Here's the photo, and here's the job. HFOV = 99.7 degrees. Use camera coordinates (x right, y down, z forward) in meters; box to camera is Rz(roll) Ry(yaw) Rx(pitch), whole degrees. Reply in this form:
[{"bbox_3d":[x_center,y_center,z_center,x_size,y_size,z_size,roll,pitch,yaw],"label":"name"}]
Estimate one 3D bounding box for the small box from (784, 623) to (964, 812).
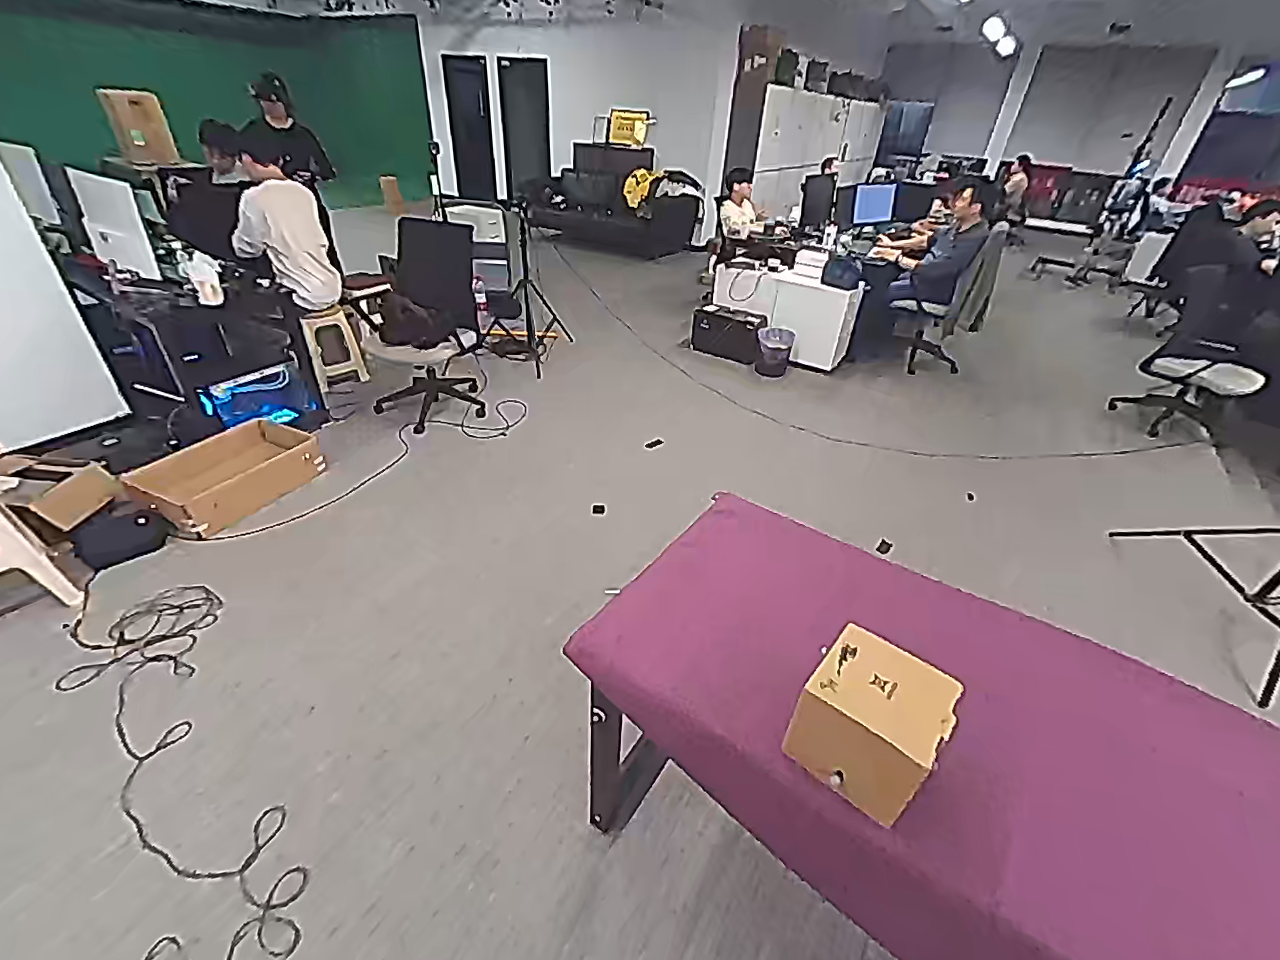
[{"bbox_3d":[0.345,0.361,0.818,0.179,0.176,0.168,28,41,31],"label":"small box"}]
